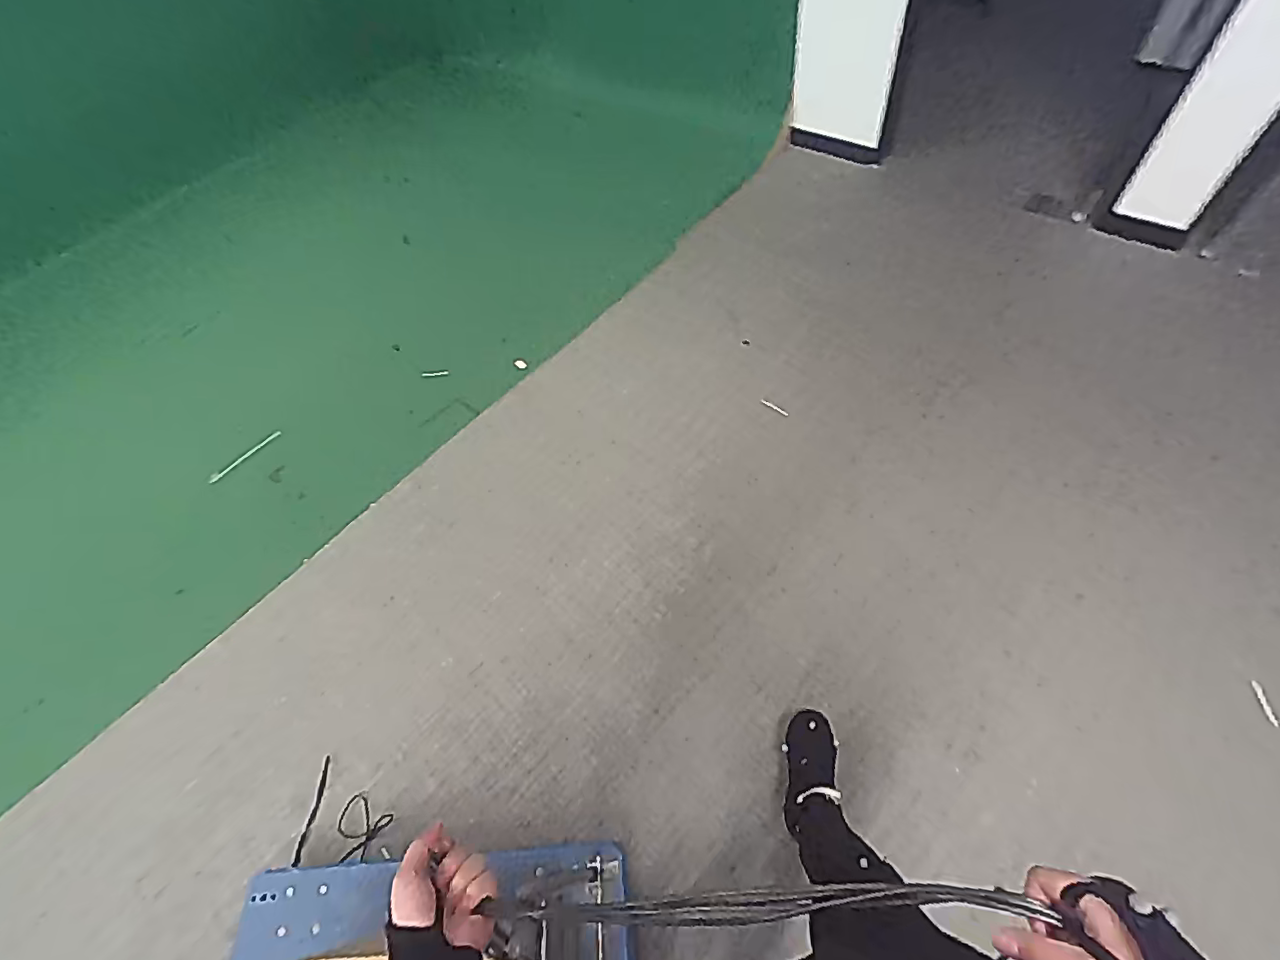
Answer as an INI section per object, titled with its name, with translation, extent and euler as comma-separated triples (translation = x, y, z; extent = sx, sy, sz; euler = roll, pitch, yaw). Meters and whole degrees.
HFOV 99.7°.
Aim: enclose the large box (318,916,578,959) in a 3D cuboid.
[large box]
translation = -0.332, 0.973, 0.918
extent = 0.408, 0.320, 0.320
euler = -9, 57, 6
